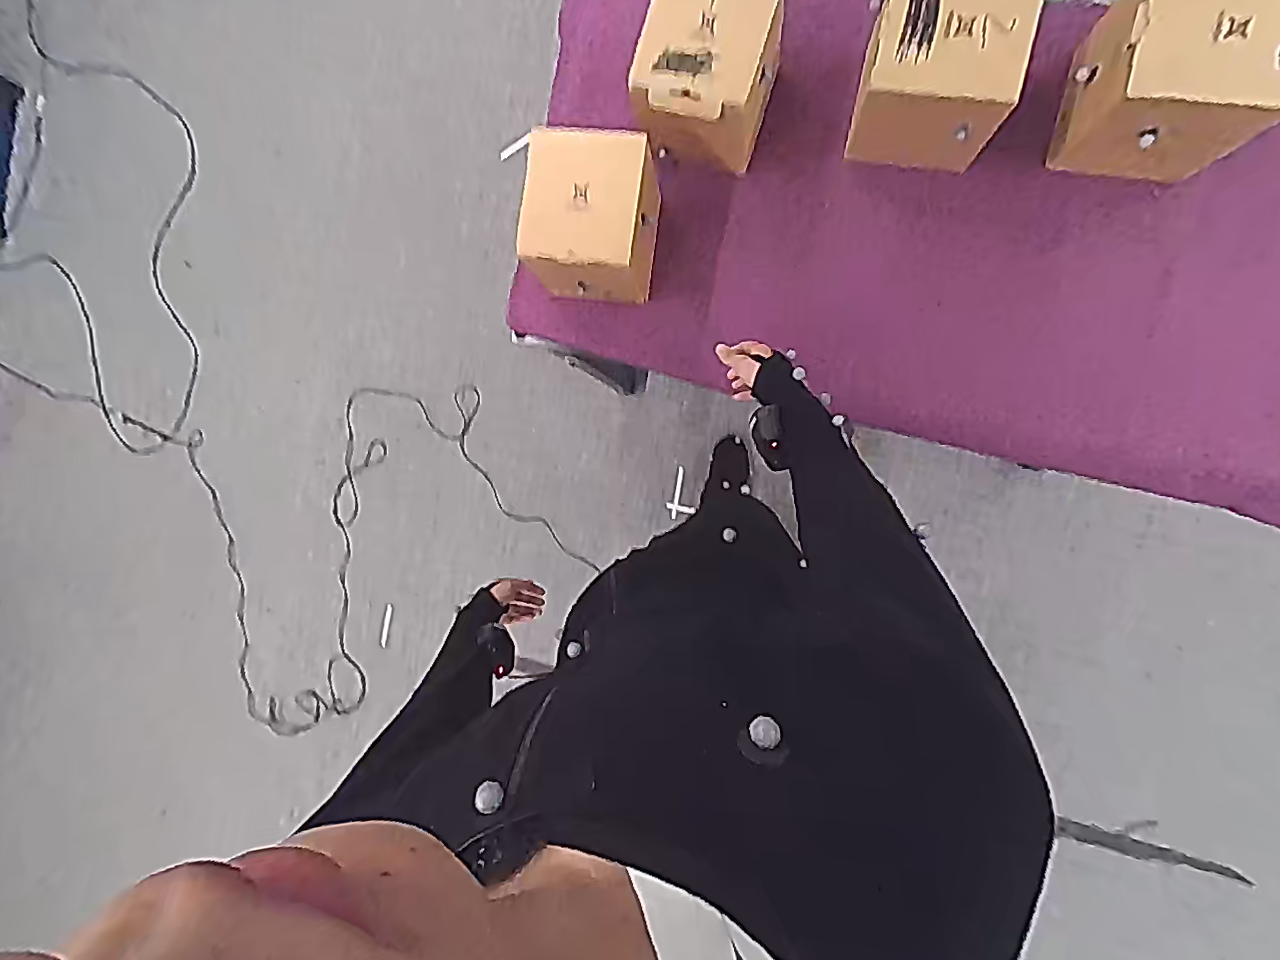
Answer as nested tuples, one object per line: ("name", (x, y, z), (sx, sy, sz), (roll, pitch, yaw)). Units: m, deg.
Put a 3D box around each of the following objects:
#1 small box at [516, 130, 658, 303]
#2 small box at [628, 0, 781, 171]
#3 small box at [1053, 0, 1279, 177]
("small box", (-0.069, -0.383, 0.810), (0.168, 0.176, 0.179), (8, 93, 8))
("small box", (0.099, -0.582, 0.776), (0.168, 0.176, 0.179), (18, 95, 9))
("small box", (0.663, -0.502, 0.670), (0.179, 0.176, 0.168), (13, 96, 11))
